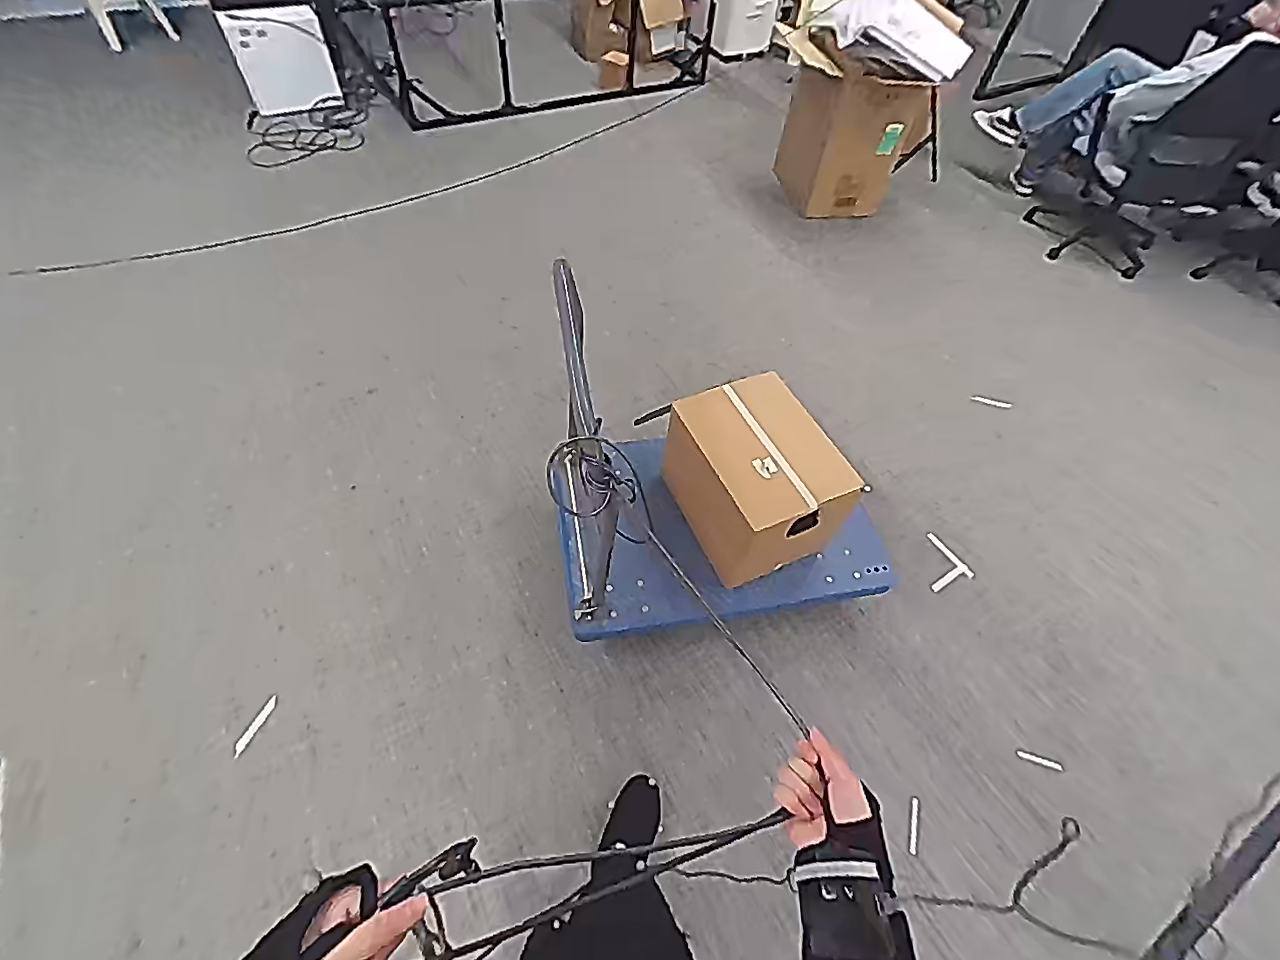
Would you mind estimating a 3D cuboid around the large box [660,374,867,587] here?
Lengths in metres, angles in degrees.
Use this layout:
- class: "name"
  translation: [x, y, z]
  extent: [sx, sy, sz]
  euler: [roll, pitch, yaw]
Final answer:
- class: "large box"
  translation: [0.288, 0.000, 1.408]
  extent: [0.320, 0.320, 0.408]
  euler: [-20, 60, -16]
